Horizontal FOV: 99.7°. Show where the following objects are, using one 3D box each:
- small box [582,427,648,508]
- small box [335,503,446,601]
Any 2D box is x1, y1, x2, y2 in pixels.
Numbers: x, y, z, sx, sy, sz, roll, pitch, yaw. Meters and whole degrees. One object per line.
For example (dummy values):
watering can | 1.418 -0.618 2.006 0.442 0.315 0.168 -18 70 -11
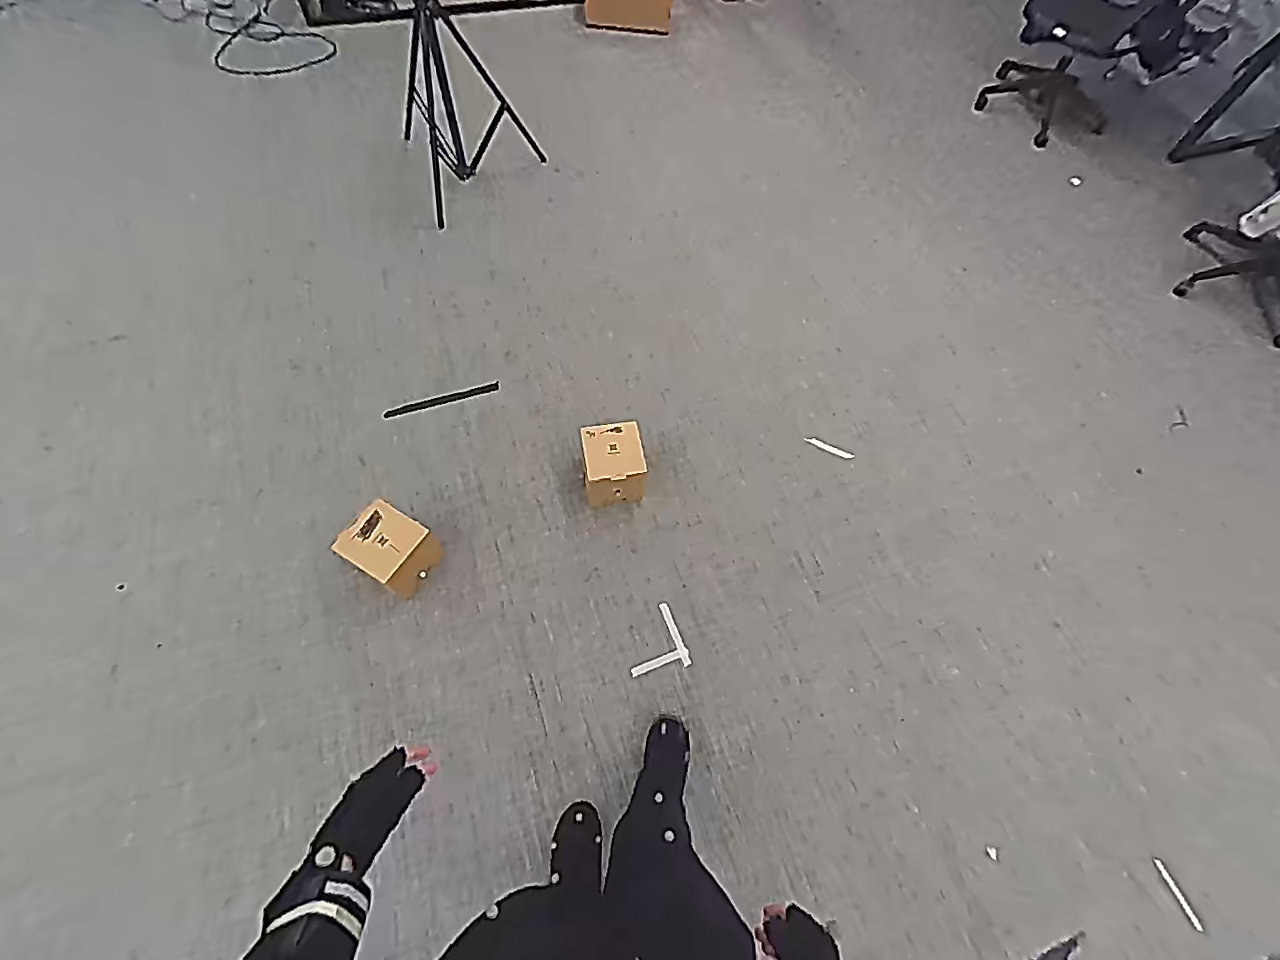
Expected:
small box | -0.076 -0.030 1.580 0.168 0.176 0.179 -8 64 -9
small box | -0.644 0.195 1.417 0.179 0.176 0.168 30 64 10
